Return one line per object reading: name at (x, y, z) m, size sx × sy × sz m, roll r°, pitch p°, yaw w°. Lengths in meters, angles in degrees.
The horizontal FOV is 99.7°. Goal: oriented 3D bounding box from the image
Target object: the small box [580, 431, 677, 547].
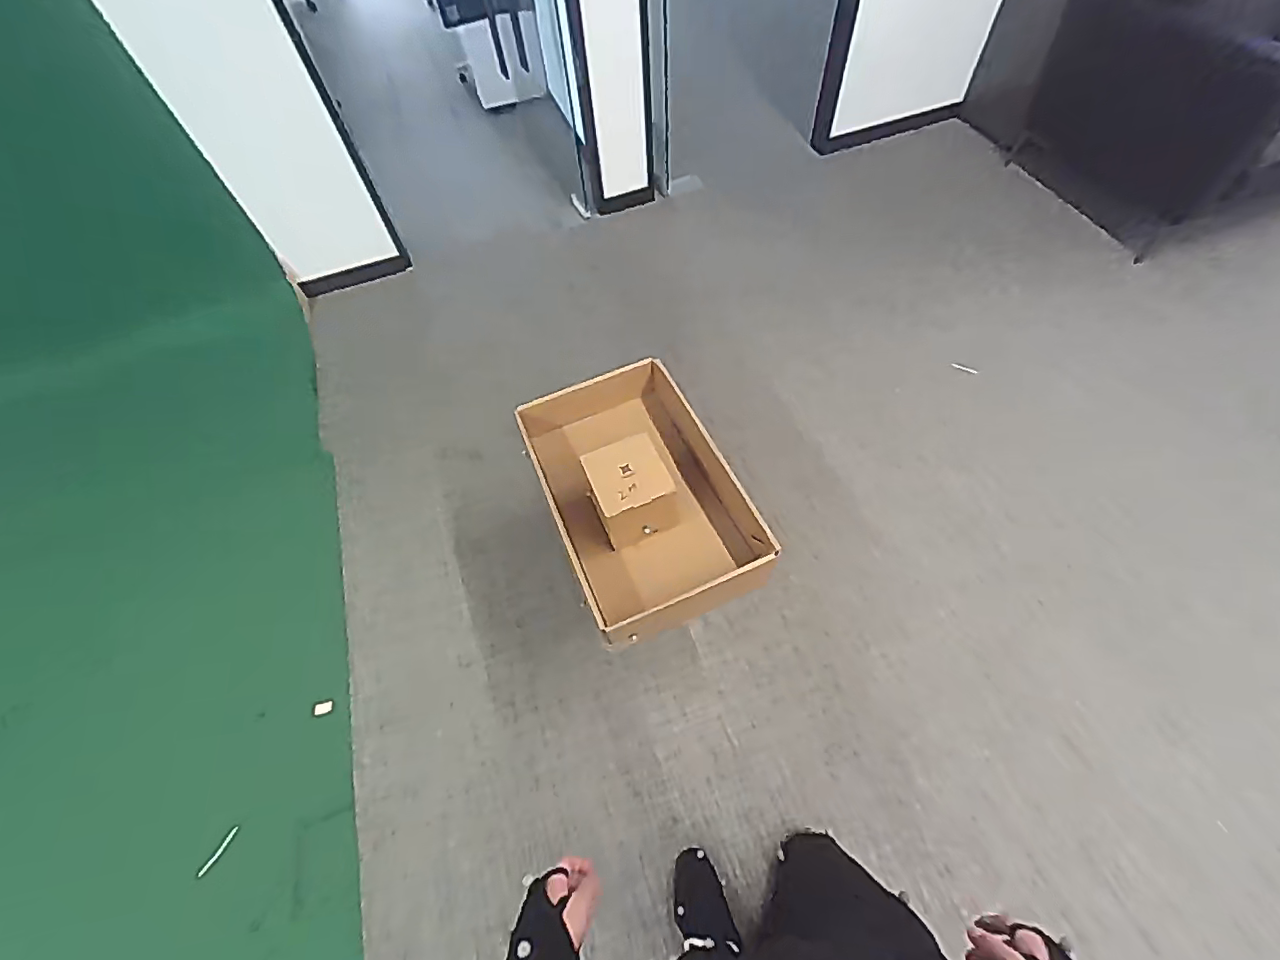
small box at (-0.024, 0.024, 1.238) m, size 0.168 × 0.176 × 0.179 m, roll -22°, pitch 59°, yaw -9°
